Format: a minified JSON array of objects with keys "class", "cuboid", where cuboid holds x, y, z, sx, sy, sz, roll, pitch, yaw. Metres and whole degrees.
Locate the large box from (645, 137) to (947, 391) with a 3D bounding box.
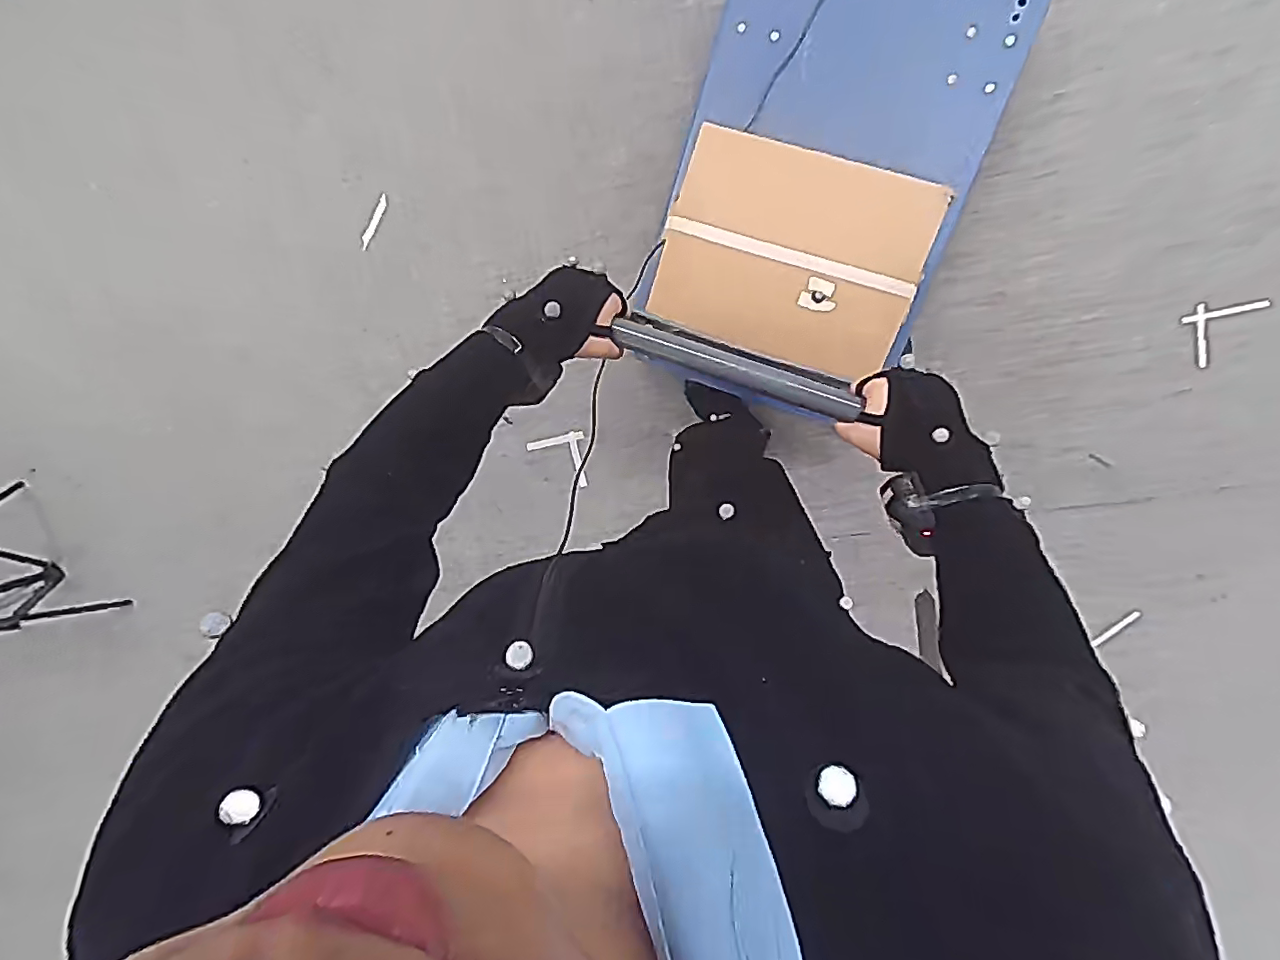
[{"class":"large box","cuboid":[0.261,-0.373,1.015,0.408,0.320,0.320,20,104,7]}]
